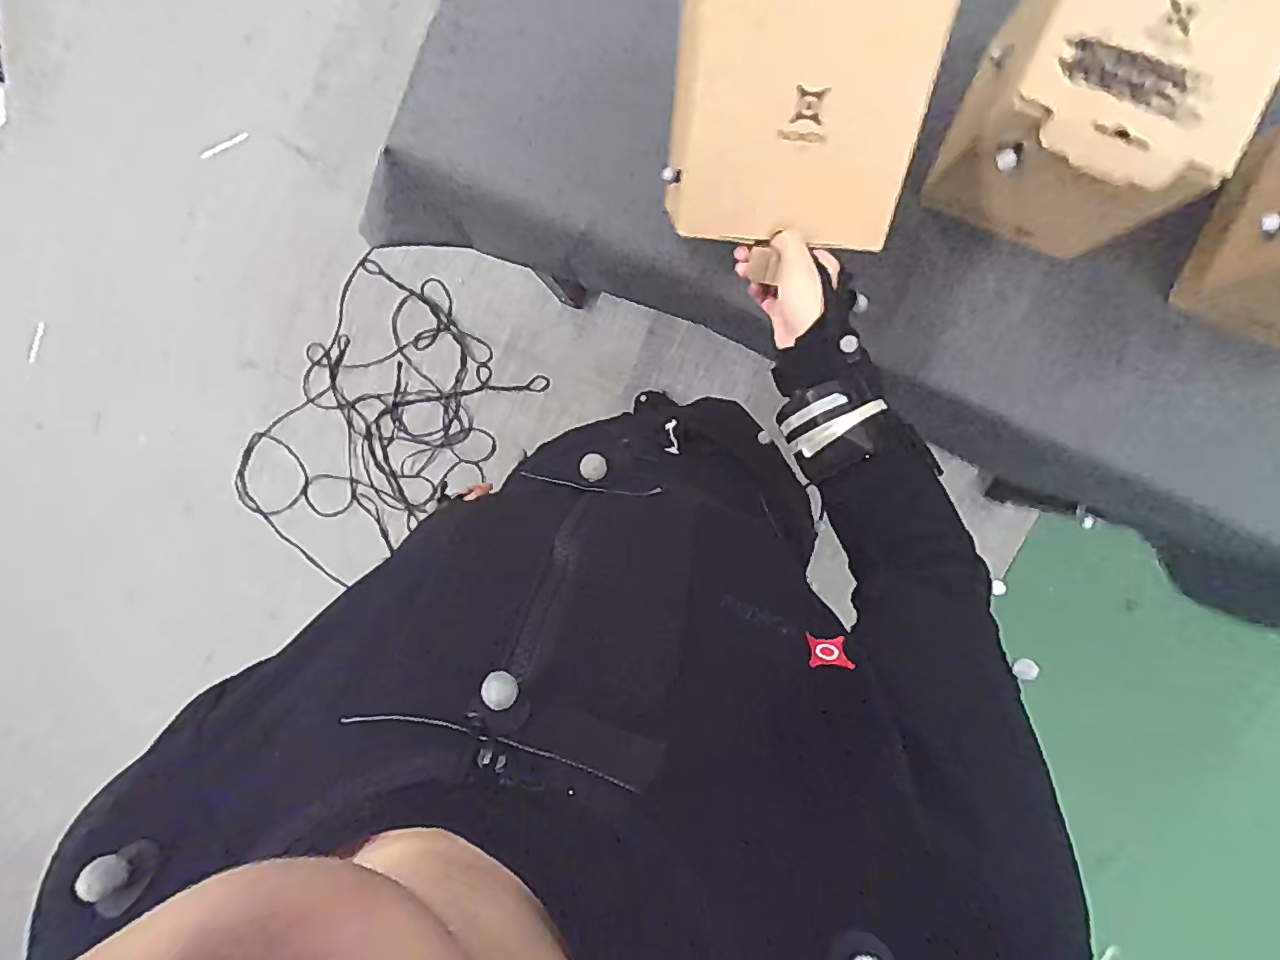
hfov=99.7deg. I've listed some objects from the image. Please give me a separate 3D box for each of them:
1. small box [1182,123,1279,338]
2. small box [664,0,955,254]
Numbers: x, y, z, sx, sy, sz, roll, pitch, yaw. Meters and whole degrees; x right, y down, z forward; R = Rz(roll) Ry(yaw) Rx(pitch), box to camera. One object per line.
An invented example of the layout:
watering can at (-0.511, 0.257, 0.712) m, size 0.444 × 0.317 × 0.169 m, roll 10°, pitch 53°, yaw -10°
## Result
small box at (0.640, -0.227, 0.462) m, size 0.168 × 0.176 × 0.179 m, roll 24°, pitch 94°, yaw 2°
small box at (0.111, -0.298, 0.441) m, size 0.168 × 0.176 × 0.179 m, roll 1°, pitch 125°, yaw -4°
